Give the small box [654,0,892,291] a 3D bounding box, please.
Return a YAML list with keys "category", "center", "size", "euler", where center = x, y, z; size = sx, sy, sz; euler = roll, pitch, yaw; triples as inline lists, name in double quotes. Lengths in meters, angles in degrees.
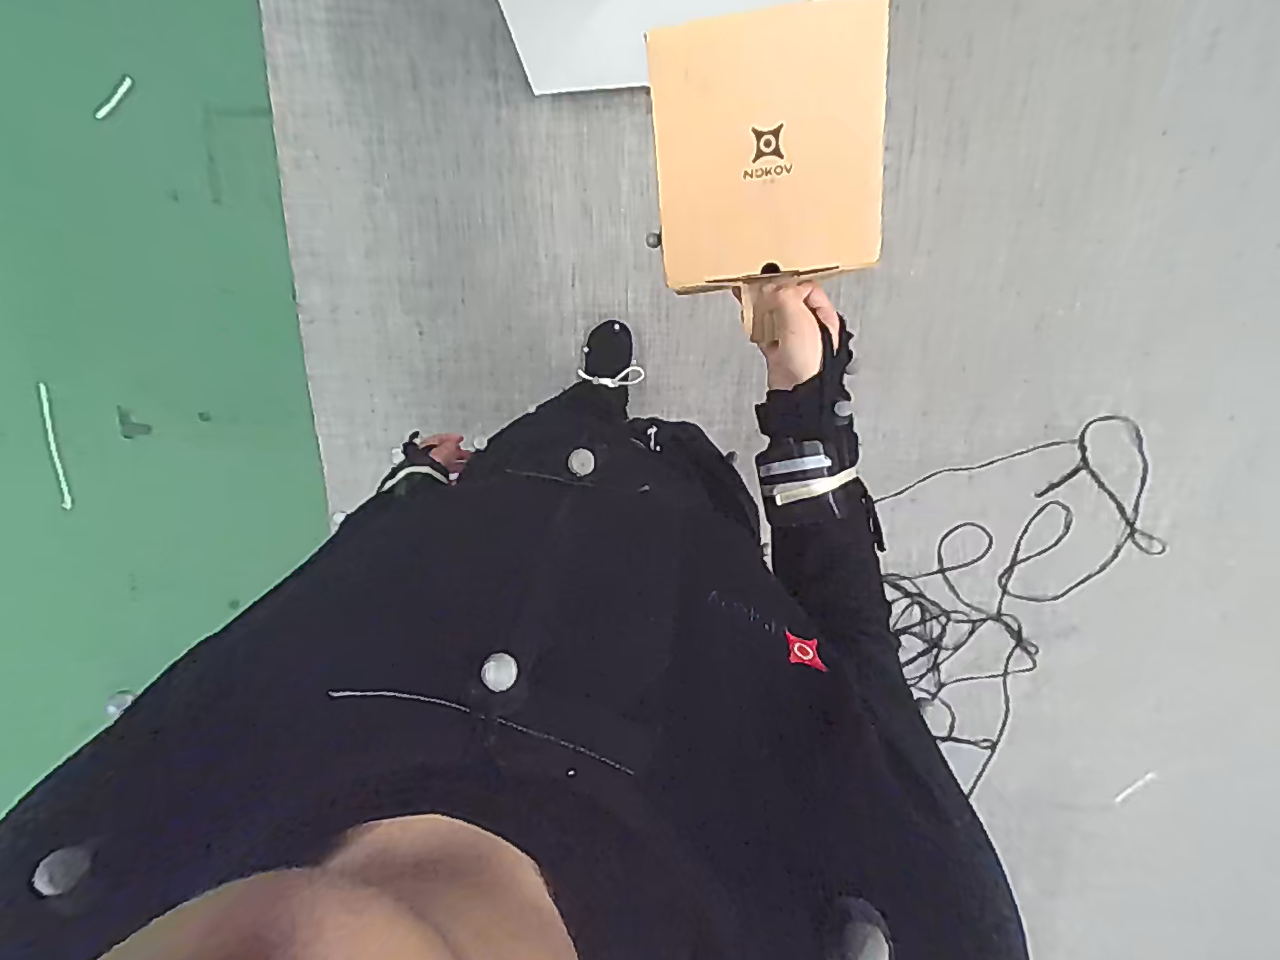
- category: "small box"
  center: [0.102, -0.266, 0.469]
  size: [0.168, 0.176, 0.179]
  euler: [-4, 107, 7]
